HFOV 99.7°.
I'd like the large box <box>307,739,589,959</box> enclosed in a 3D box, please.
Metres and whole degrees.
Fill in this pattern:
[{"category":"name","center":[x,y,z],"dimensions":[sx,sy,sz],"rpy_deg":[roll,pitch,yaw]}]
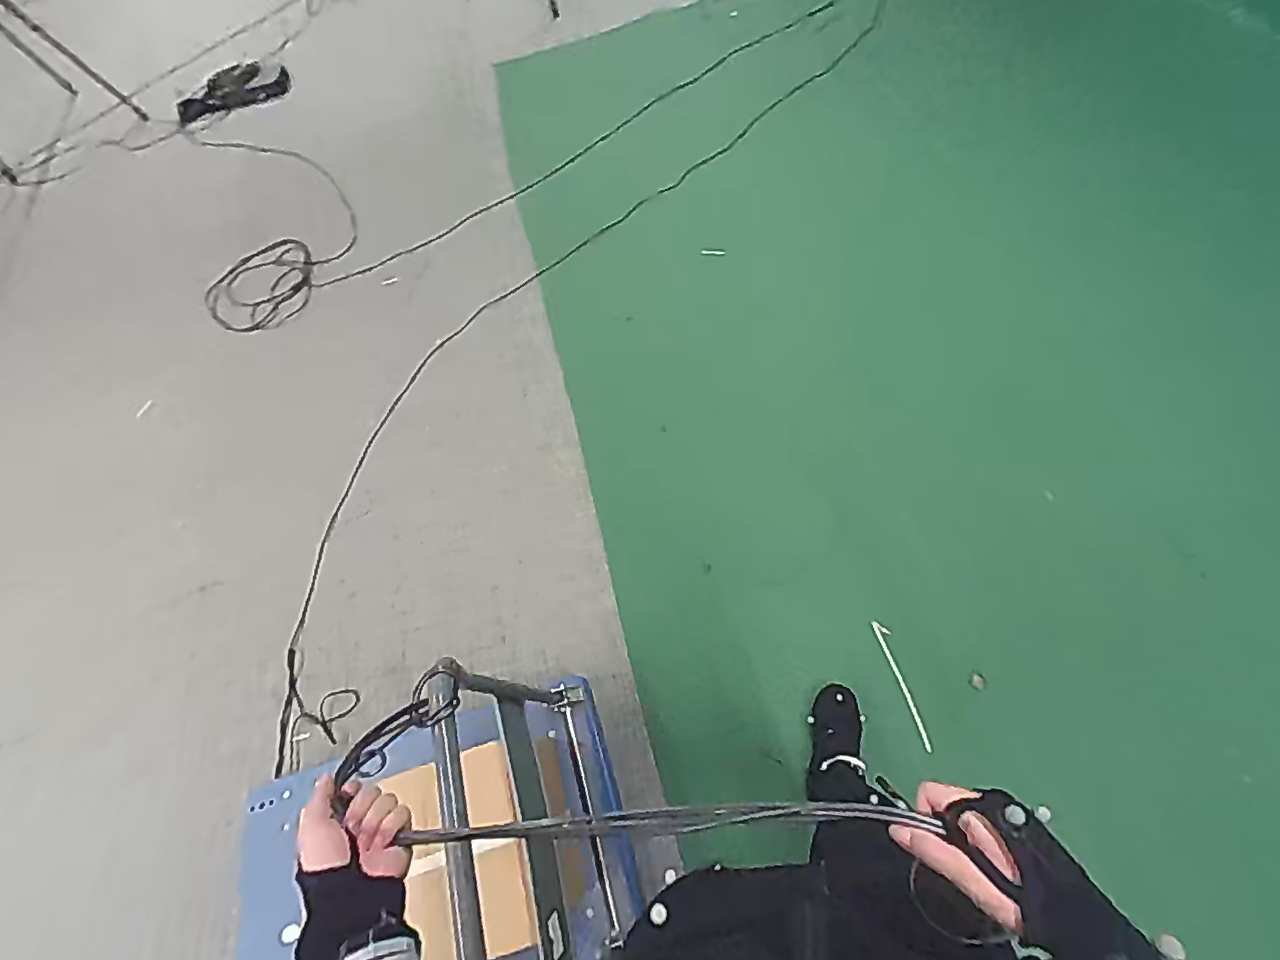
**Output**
[{"category":"large box","center":[-0.357,0.734,1.058],"dimensions":[0.408,0.320,0.320],"rpy_deg":[-20,62,1]}]
